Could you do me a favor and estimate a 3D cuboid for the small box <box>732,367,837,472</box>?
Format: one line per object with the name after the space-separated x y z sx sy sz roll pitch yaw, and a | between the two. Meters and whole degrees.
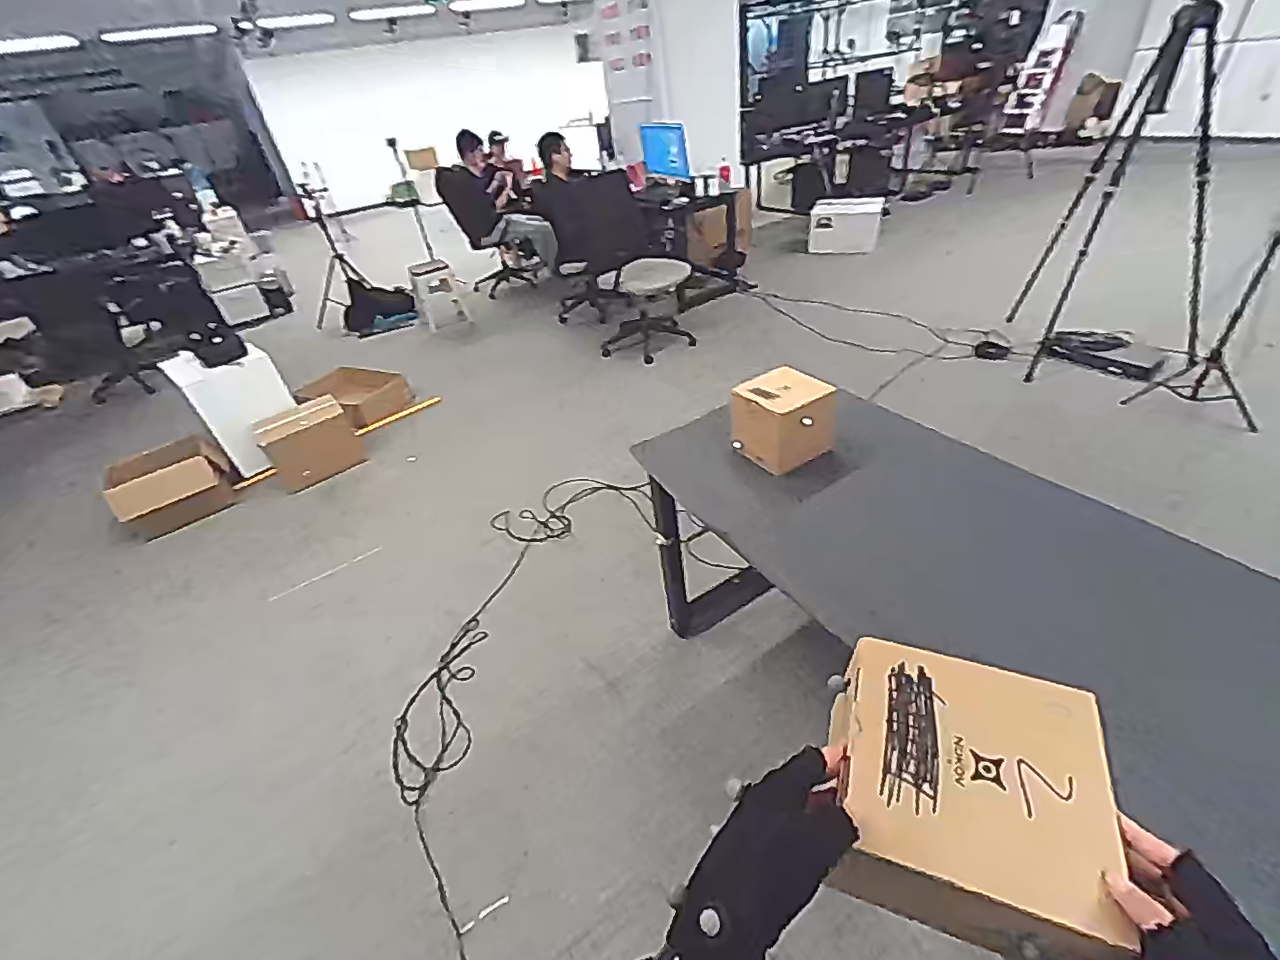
0.340 -0.143 1.284 0.179 0.176 0.168 -25 40 -22 | small box
